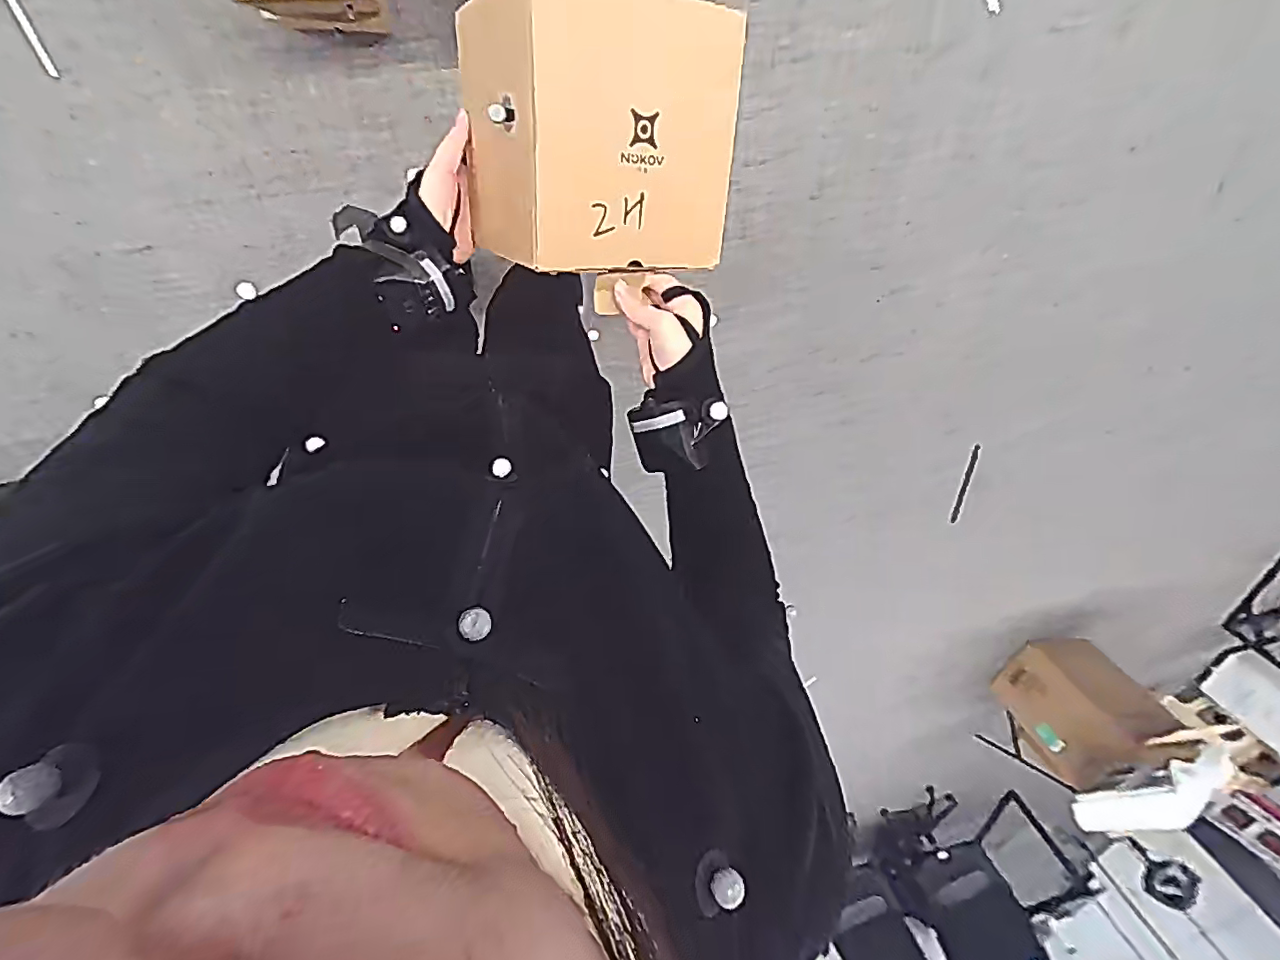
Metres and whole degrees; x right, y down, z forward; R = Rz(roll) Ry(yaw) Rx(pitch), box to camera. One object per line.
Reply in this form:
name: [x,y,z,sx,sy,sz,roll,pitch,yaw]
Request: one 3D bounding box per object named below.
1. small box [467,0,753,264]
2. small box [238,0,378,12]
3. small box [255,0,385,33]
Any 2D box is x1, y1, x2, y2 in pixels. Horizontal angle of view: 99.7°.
small box: [-0.035,-0.281,0.443,0.168,0.176,0.179,-12,121,-29]
small box: [-0.465,-0.743,0.721,0.179,0.176,0.168,-10,127,-10]
small box: [-0.514,-0.824,0.855,0.179,0.176,0.168,-7,126,-13]
